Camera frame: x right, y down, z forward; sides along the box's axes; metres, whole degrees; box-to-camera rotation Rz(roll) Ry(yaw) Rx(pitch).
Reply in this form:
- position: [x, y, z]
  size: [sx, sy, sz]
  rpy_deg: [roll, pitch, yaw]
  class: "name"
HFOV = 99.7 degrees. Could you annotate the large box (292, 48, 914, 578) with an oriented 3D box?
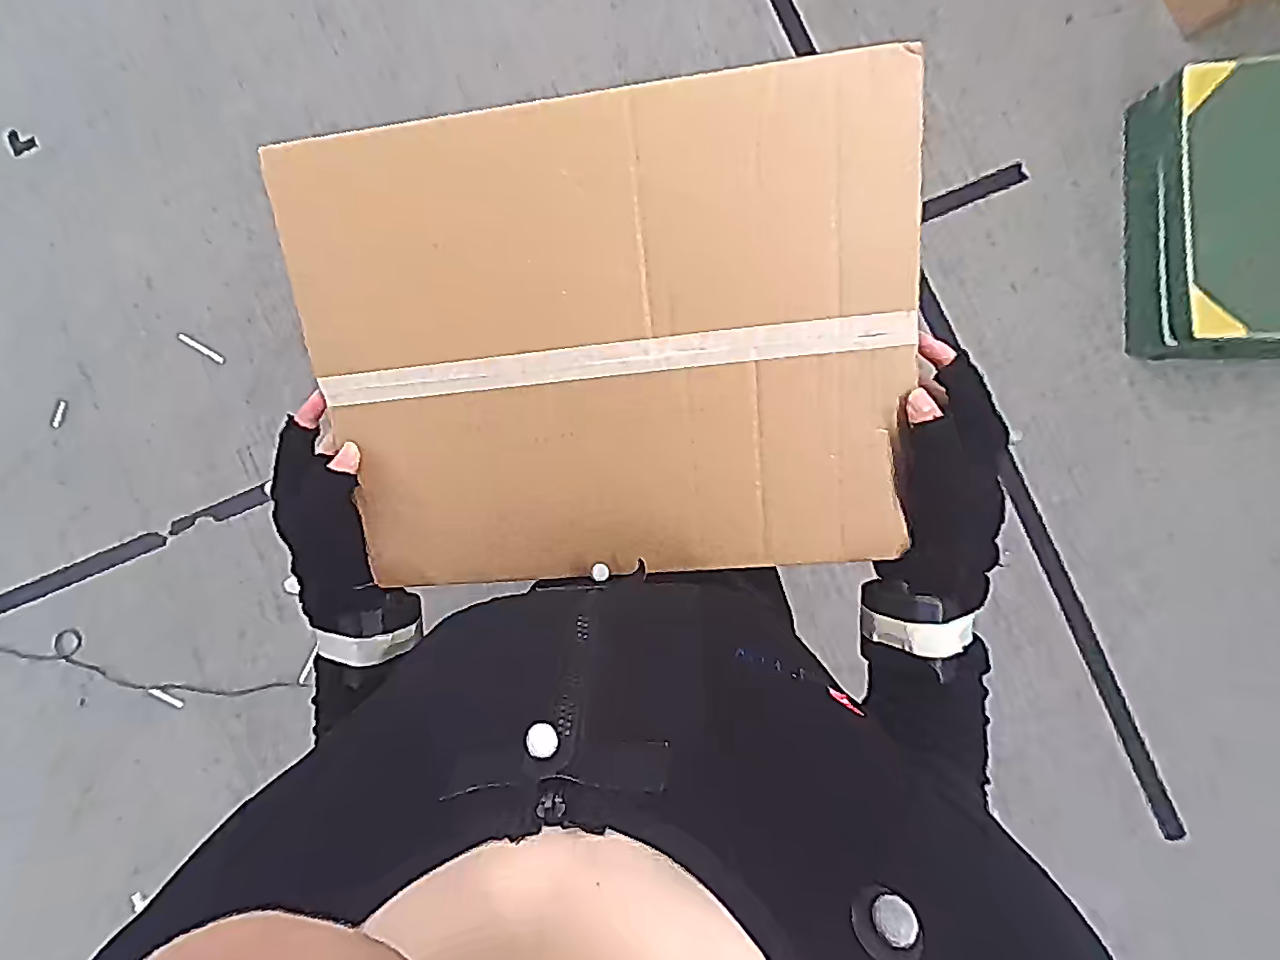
- position: [-0.009, -0.124, 0.515]
  size: [0.408, 0.320, 0.320]
  rpy_deg: [-4, 106, 7]
  class: "large box"
